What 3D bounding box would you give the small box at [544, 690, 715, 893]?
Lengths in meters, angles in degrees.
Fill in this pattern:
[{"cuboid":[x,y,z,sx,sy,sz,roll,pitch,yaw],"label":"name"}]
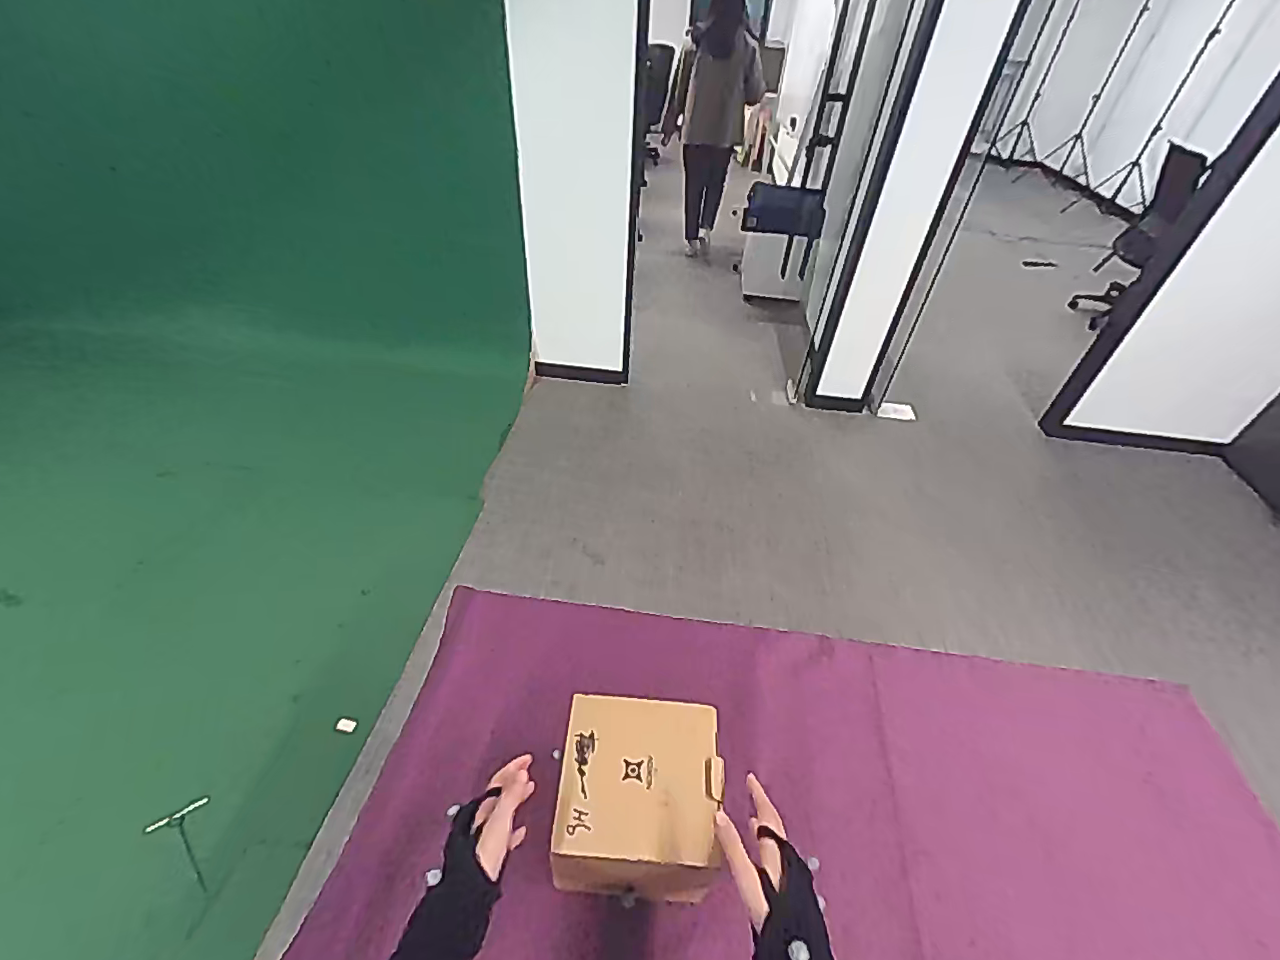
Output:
[{"cuboid":[-0.010,0.379,0.654,0.179,0.176,0.168,6,43,1],"label":"small box"}]
